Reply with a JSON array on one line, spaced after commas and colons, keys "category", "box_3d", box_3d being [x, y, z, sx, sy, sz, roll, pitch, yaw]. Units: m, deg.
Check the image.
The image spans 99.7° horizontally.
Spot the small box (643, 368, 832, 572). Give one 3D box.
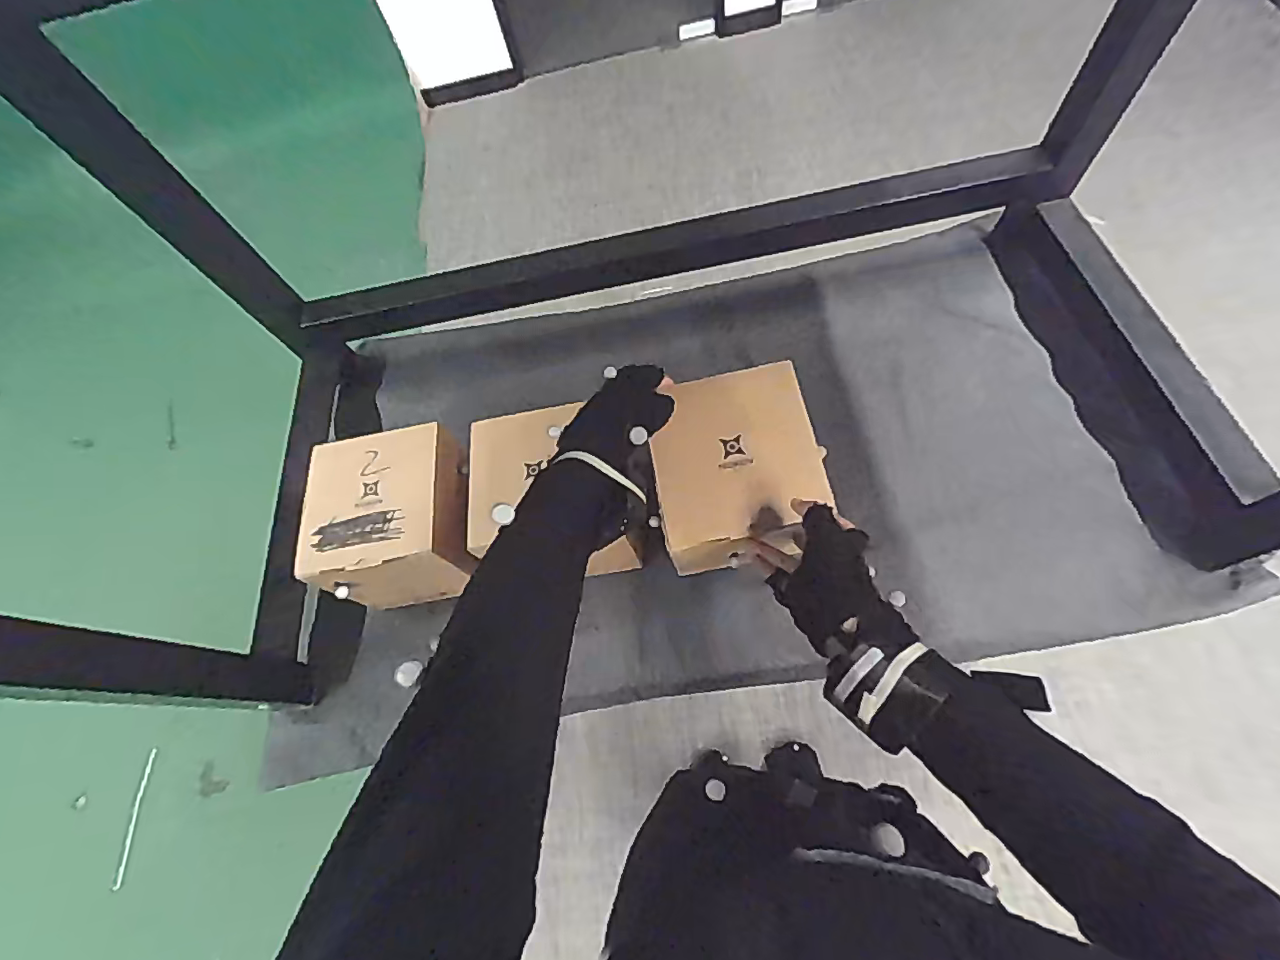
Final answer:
[{"category": "small box", "box_3d": [0.103, -0.002, 0.633, 0.168, 0.176, 0.179, -12, 72, 3]}]
